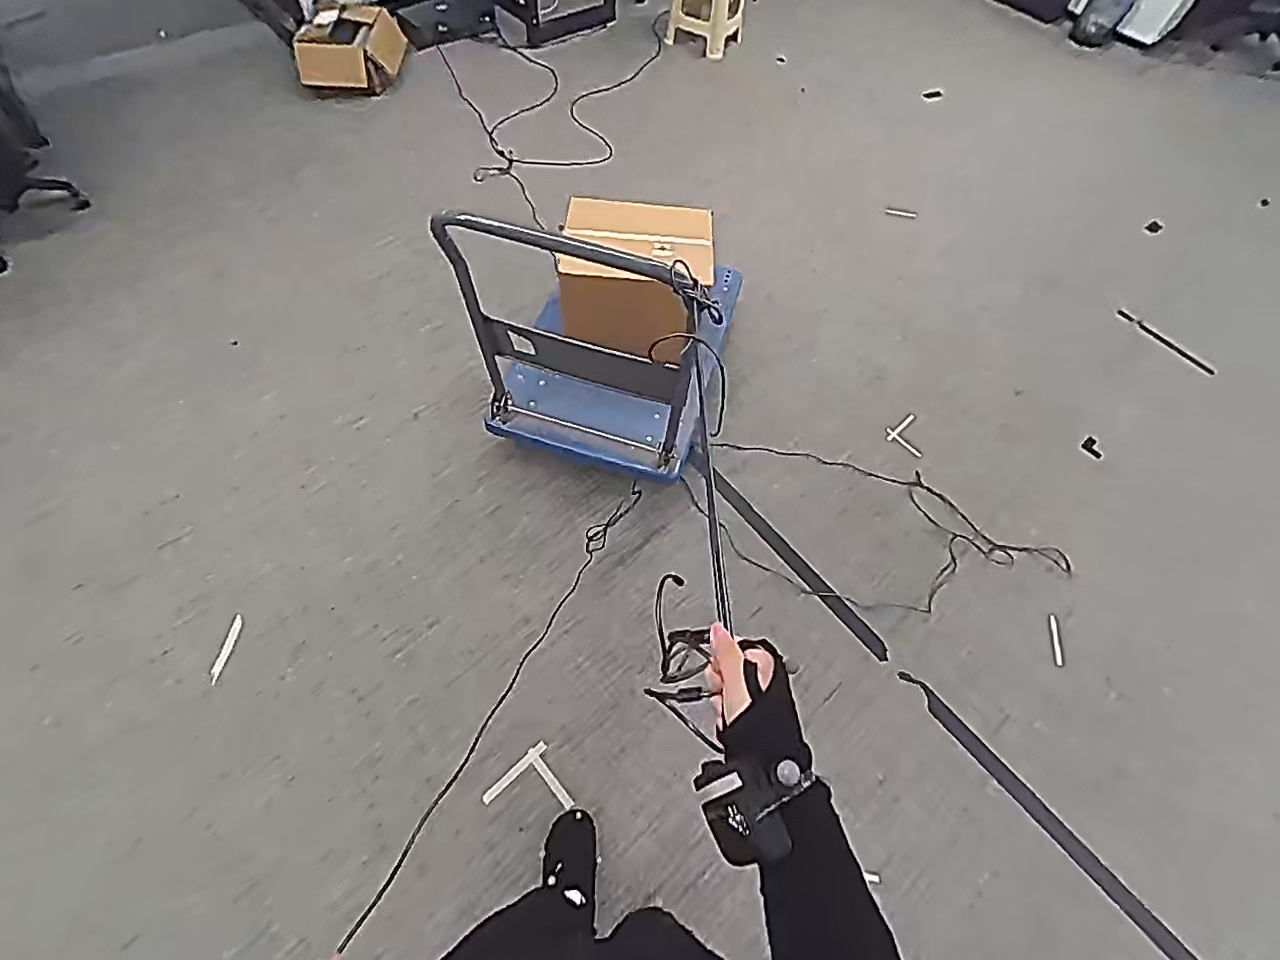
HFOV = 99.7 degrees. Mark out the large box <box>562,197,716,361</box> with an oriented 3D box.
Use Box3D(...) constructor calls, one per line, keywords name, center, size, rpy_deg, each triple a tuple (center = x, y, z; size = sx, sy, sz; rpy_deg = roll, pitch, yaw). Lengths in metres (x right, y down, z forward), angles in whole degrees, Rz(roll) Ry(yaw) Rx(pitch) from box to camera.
Box3D(name="large box", center=(-0.007, -0.575, 1.576), size=(0.408, 0.320, 0.320), rpy_deg=(5, 62, -2))
